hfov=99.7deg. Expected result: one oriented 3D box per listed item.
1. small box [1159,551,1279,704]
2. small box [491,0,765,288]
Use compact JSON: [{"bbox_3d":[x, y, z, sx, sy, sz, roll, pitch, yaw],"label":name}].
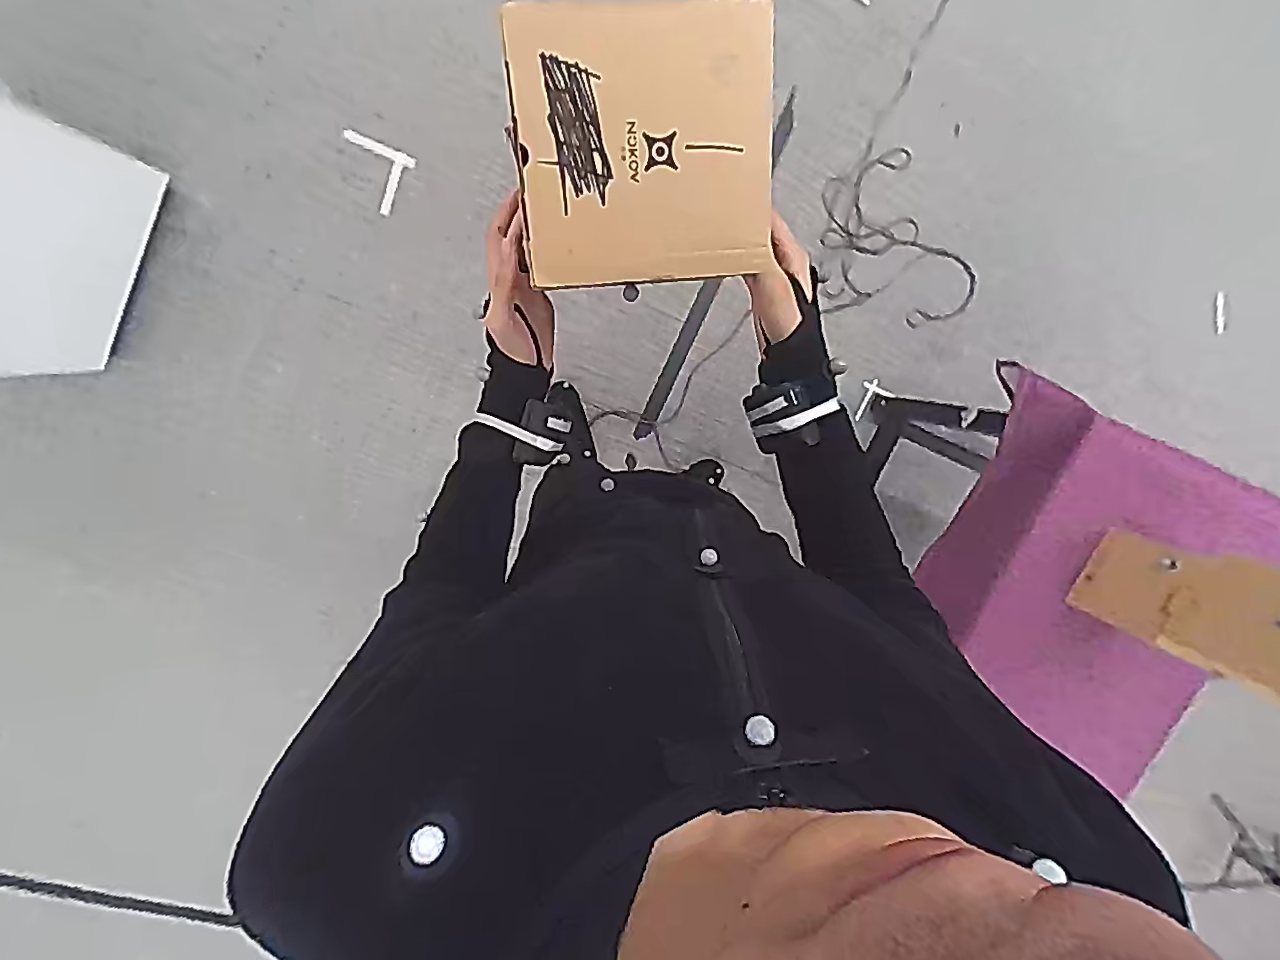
[{"bbox_3d":[0.982,0.236,0.838,0.168,0.176,0.179,30,98,-14],"label":"small box"},{"bbox_3d":[-0.011,-0.249,0.437,0.179,0.176,0.168,-7,110,-7],"label":"small box"}]
